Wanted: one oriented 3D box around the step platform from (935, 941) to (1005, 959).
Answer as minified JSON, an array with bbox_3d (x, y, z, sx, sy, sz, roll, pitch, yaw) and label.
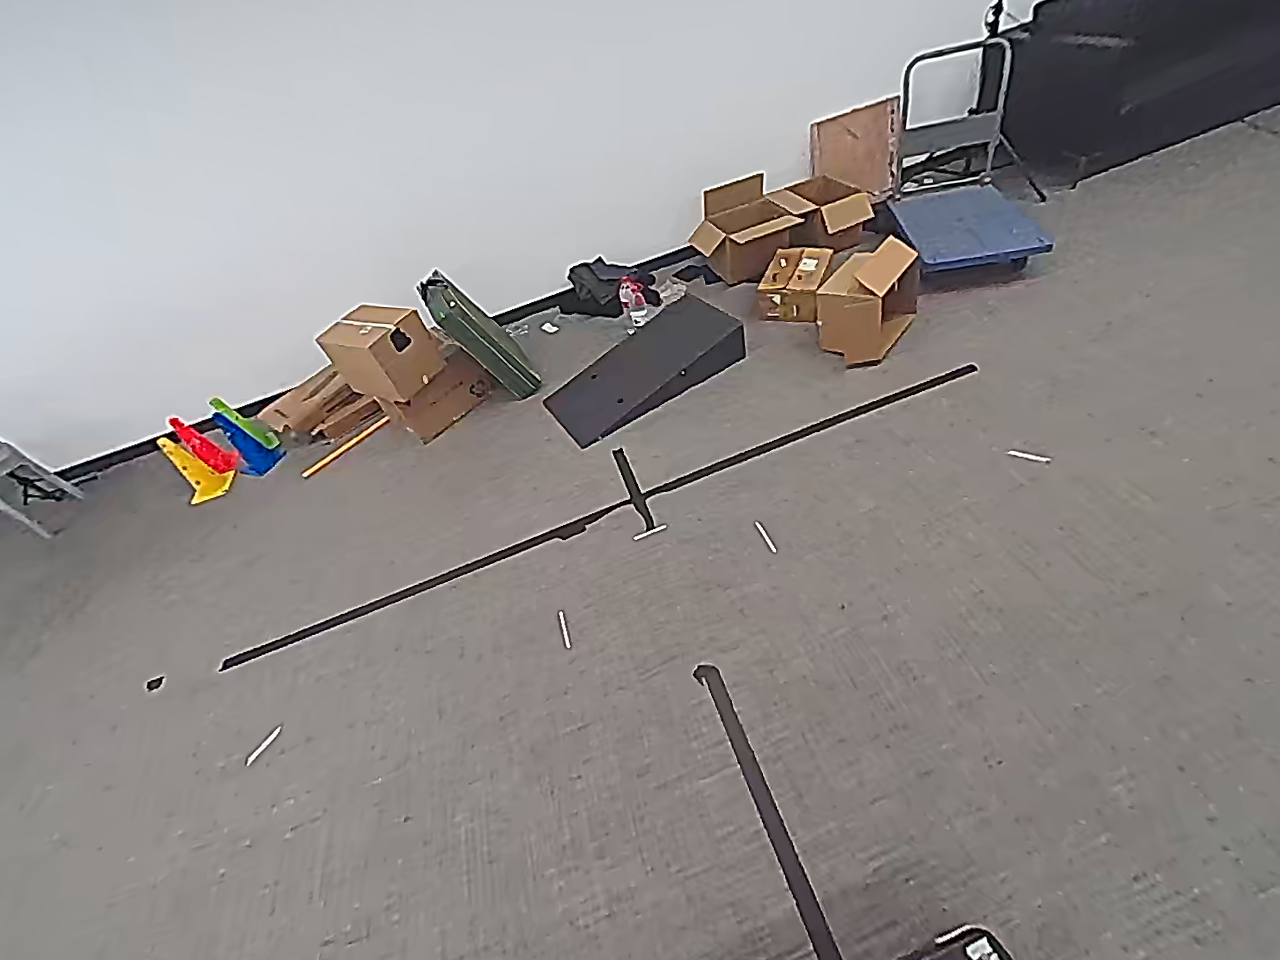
[{"bbox_3d":[0.440,1.143,0.979,0.684,0.204,0.286,-21,46,-5],"label":"step platform"}]
